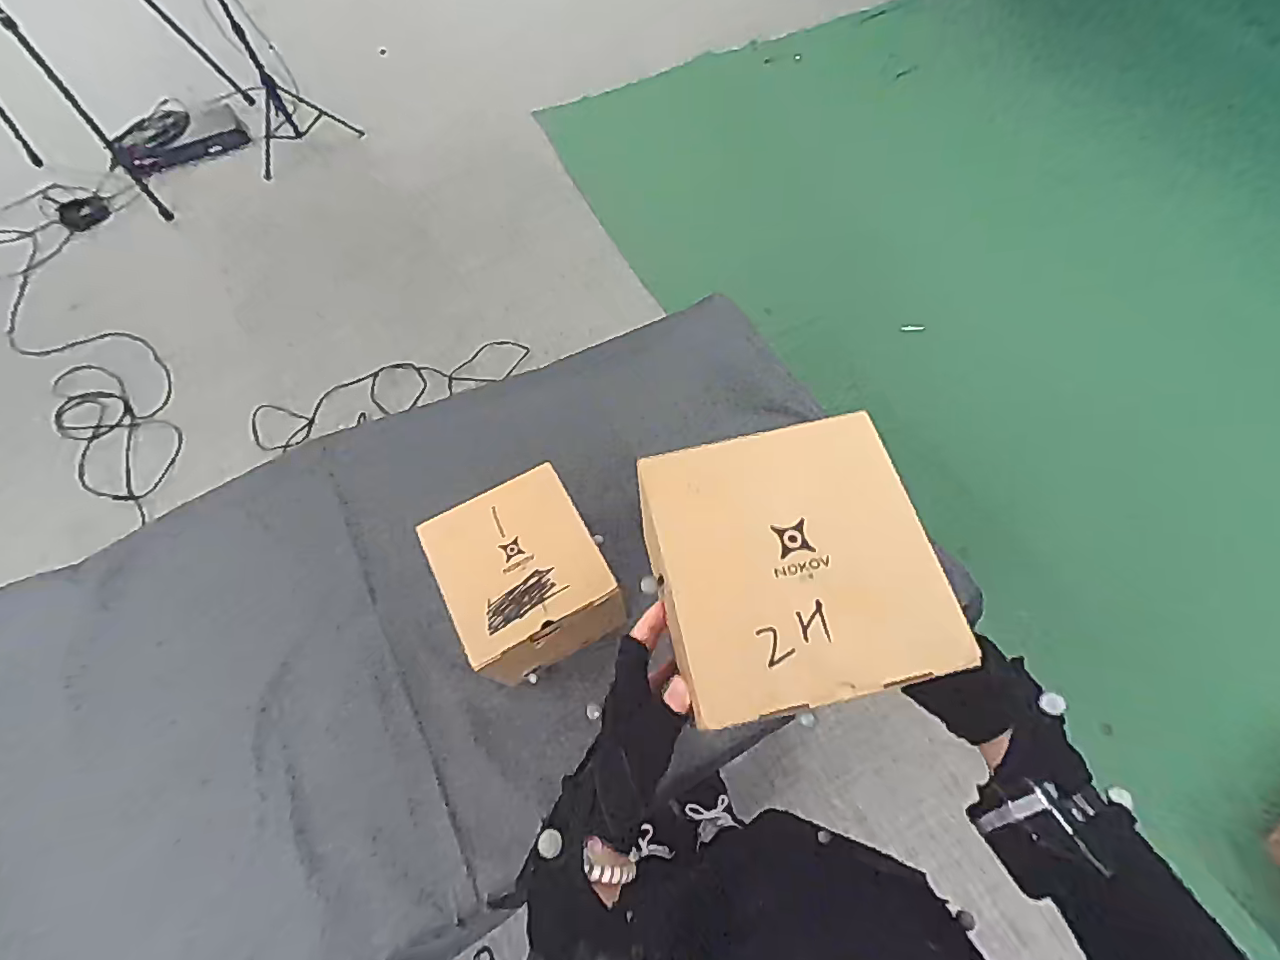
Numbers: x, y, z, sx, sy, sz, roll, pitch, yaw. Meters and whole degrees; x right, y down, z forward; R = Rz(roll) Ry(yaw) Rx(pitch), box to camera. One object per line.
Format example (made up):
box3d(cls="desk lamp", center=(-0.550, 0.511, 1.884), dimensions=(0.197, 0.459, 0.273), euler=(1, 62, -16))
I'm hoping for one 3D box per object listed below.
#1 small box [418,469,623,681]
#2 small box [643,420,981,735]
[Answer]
box3d(cls="small box", center=(-0.131, 0.123, 0.648), dimensions=(0.168, 0.176, 0.179), euler=(-28, 65, -11))
box3d(cls="small box", center=(0.101, 0.083, 0.410), dimensions=(0.168, 0.176, 0.179), euler=(-13, 66, -2))
